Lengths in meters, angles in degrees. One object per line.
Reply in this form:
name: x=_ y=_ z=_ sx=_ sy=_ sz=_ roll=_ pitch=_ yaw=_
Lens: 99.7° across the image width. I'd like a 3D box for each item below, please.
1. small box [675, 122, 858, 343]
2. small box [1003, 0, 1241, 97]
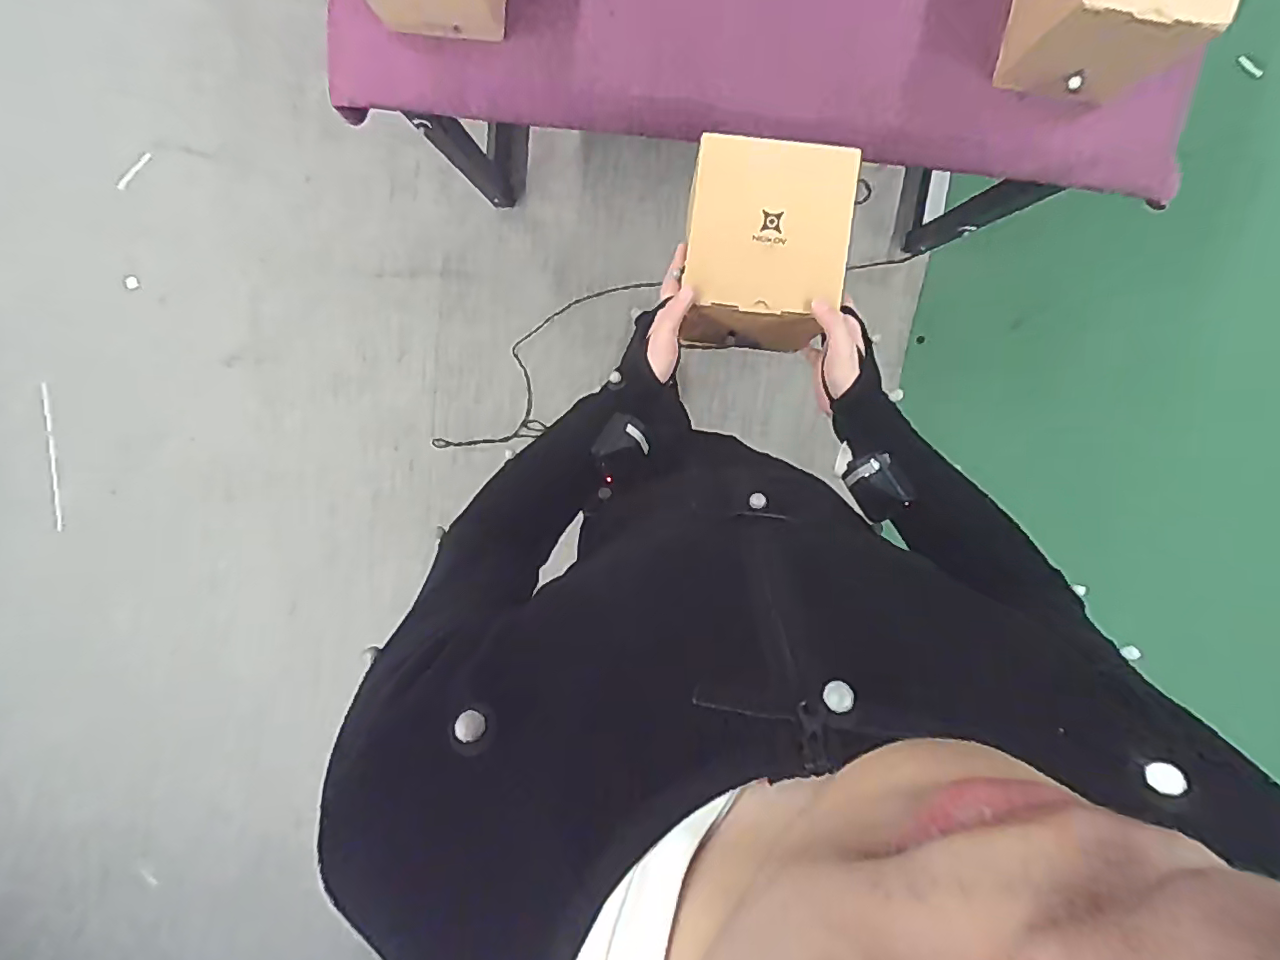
small box: x=0.132 y=-0.272 z=0.631 sx=0.168 sy=0.176 sz=0.179 roll=7 pitch=93 yaw=1
small box: x=0.578 y=-0.606 z=0.645 sx=0.168 sy=0.176 sz=0.179 roll=10 pitch=101 yaw=2
